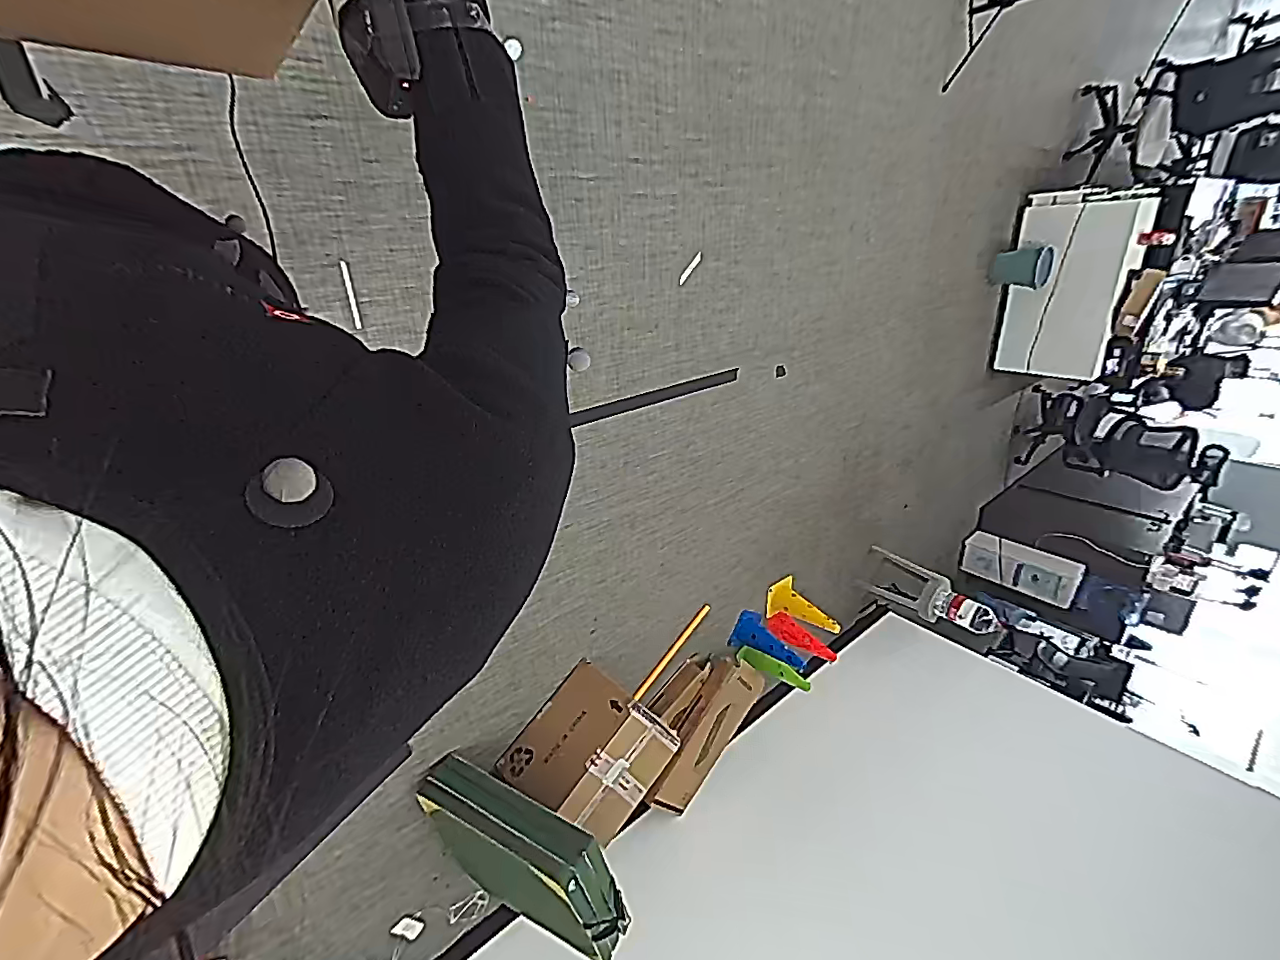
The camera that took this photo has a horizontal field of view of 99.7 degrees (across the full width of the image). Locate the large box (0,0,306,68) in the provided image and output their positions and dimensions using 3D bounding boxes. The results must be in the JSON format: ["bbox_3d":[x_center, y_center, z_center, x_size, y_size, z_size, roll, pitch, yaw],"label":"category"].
[{"bbox_3d":[-0.419,-0.435,0.242,0.408,0.320,0.320,-18,121,-35],"label":"large box"}]
